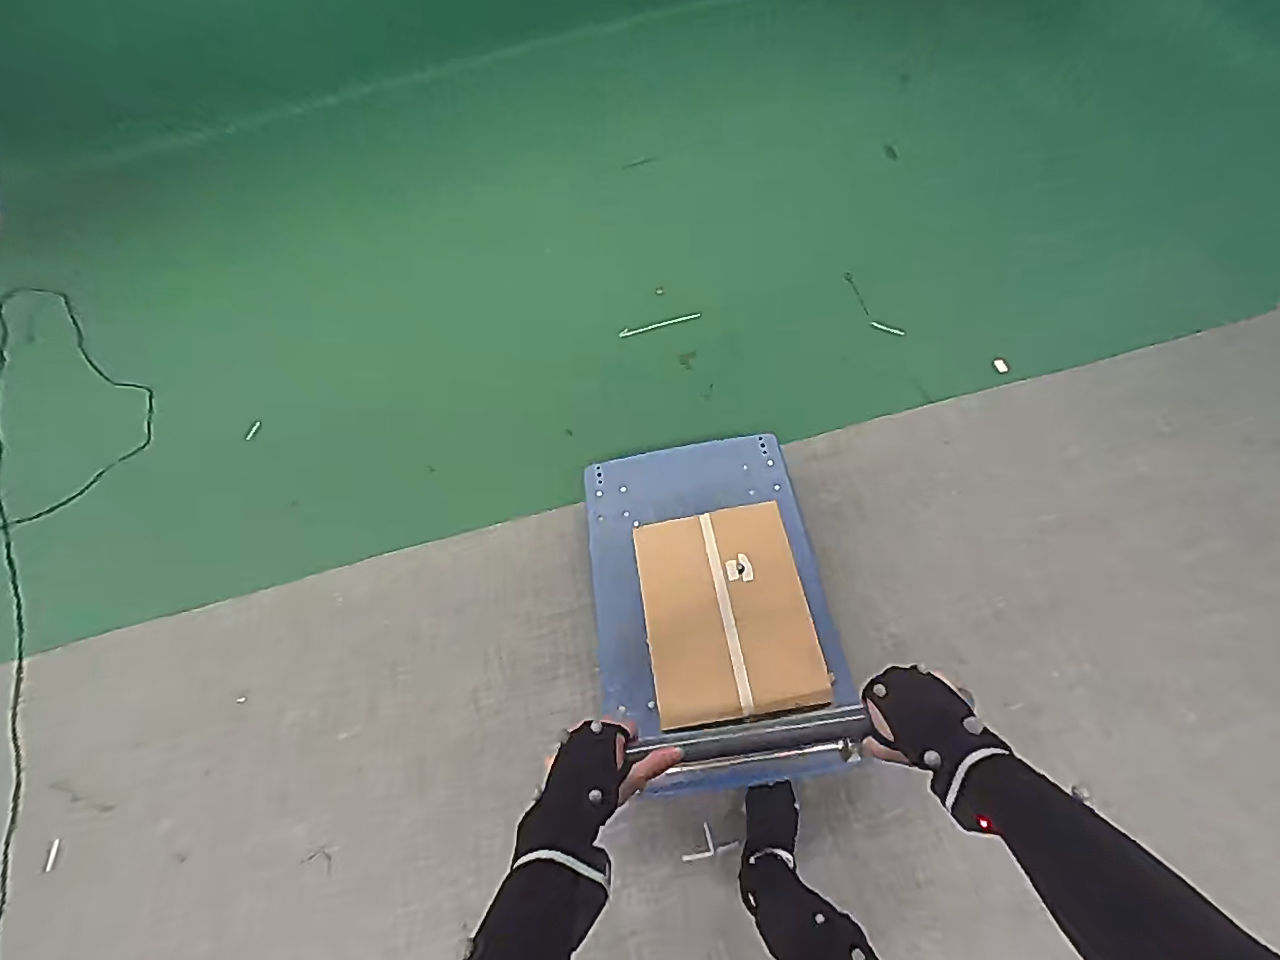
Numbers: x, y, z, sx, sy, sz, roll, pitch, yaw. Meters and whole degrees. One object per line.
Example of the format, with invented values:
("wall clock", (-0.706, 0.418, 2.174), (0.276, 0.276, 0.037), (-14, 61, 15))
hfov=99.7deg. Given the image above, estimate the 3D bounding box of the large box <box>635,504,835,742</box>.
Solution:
("large box", (0.189, 0.320, 1.183), (0.320, 0.320, 0.408), (-11, 59, 2))
